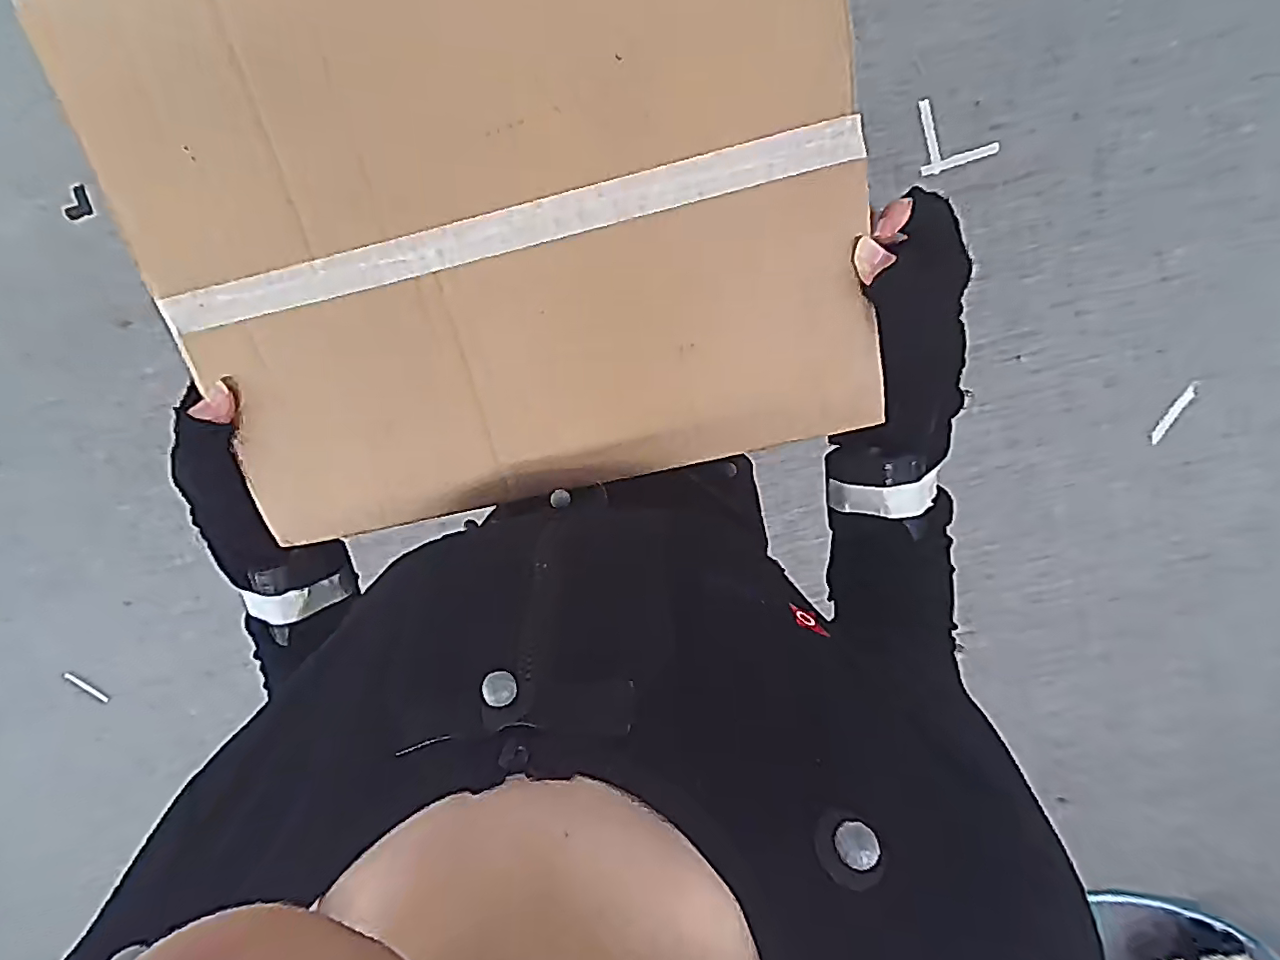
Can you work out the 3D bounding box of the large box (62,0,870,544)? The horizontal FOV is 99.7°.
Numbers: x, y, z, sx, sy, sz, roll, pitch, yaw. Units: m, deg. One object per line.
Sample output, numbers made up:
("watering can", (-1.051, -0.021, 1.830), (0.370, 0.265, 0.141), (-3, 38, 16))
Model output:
("large box", (-0.076, -0.186, 0.453), (0.408, 0.320, 0.320), (-12, 108, 6))
